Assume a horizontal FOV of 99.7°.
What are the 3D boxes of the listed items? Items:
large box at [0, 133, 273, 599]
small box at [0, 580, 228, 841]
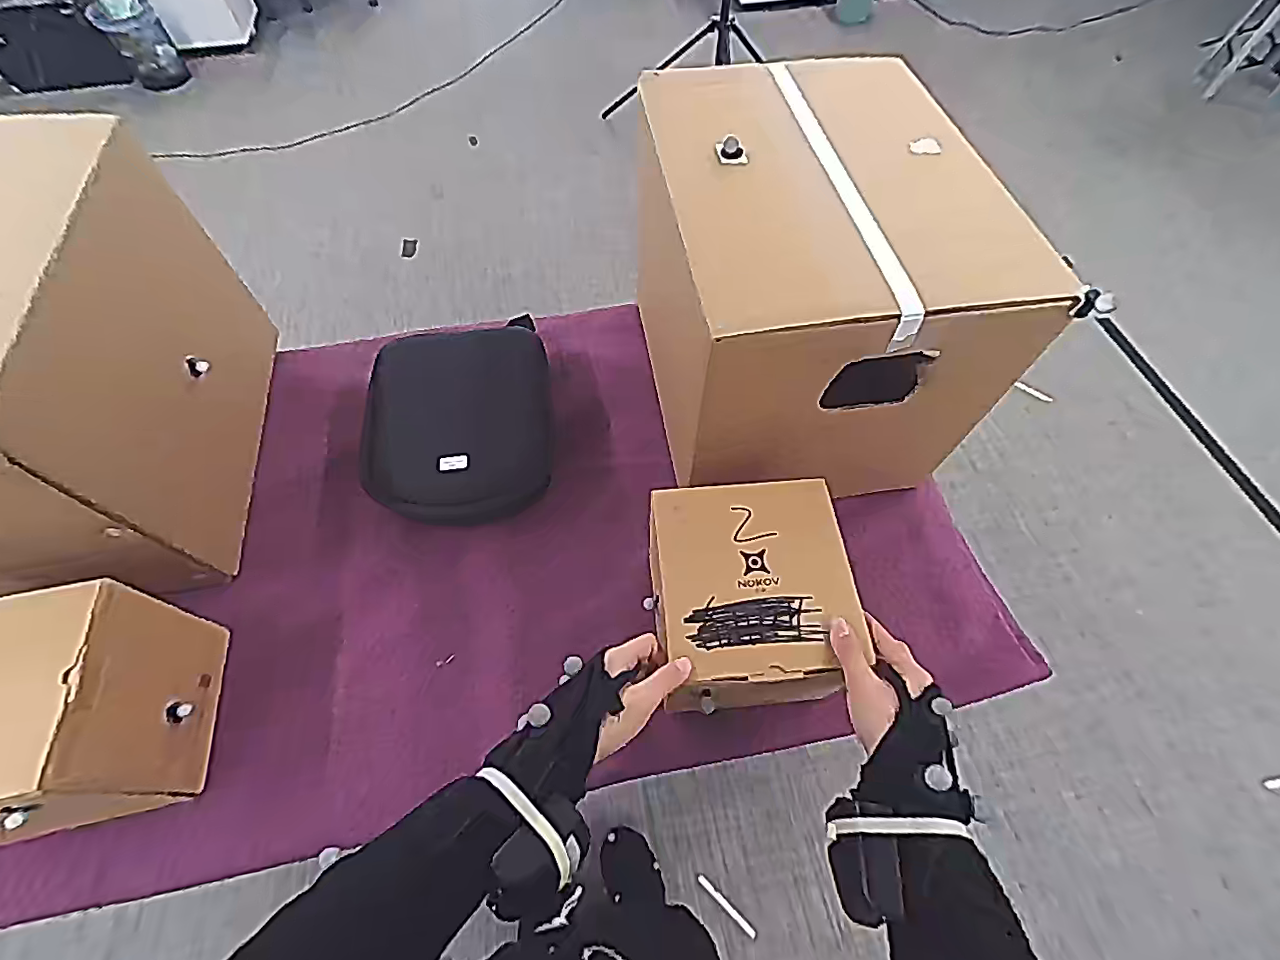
[{"bbox_3d":[-0.650,-0.098,0.583,0.320,0.320,0.408,-10,63,-7],"label":"large box"},{"bbox_3d":[-0.526,0.212,0.485,0.179,0.176,0.168,-11,59,-7],"label":"small box"}]
